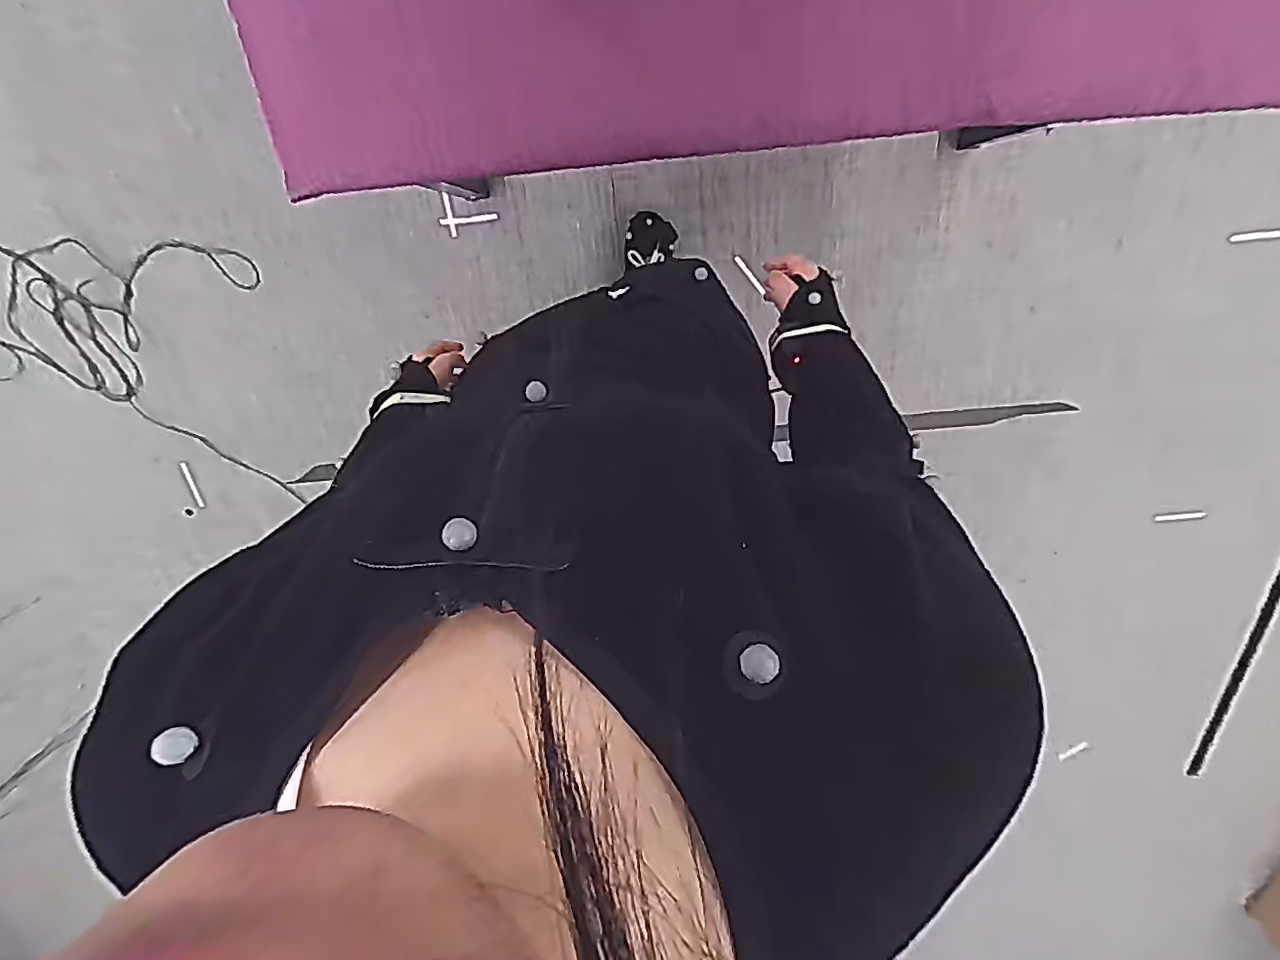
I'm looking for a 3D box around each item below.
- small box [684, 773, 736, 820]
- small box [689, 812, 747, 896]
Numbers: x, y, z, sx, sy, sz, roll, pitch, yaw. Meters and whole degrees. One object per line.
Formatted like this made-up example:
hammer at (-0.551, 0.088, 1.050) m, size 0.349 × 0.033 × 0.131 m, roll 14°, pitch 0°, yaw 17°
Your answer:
small box at (0.262, 1.215, 2.008) m, size 0.168 × 0.176 × 0.179 m, roll -9°, pitch 114°, yaw 2°
small box at (0.267, 1.284, 1.859) m, size 0.168 × 0.176 × 0.179 m, roll -10°, pitch 114°, yaw 2°
